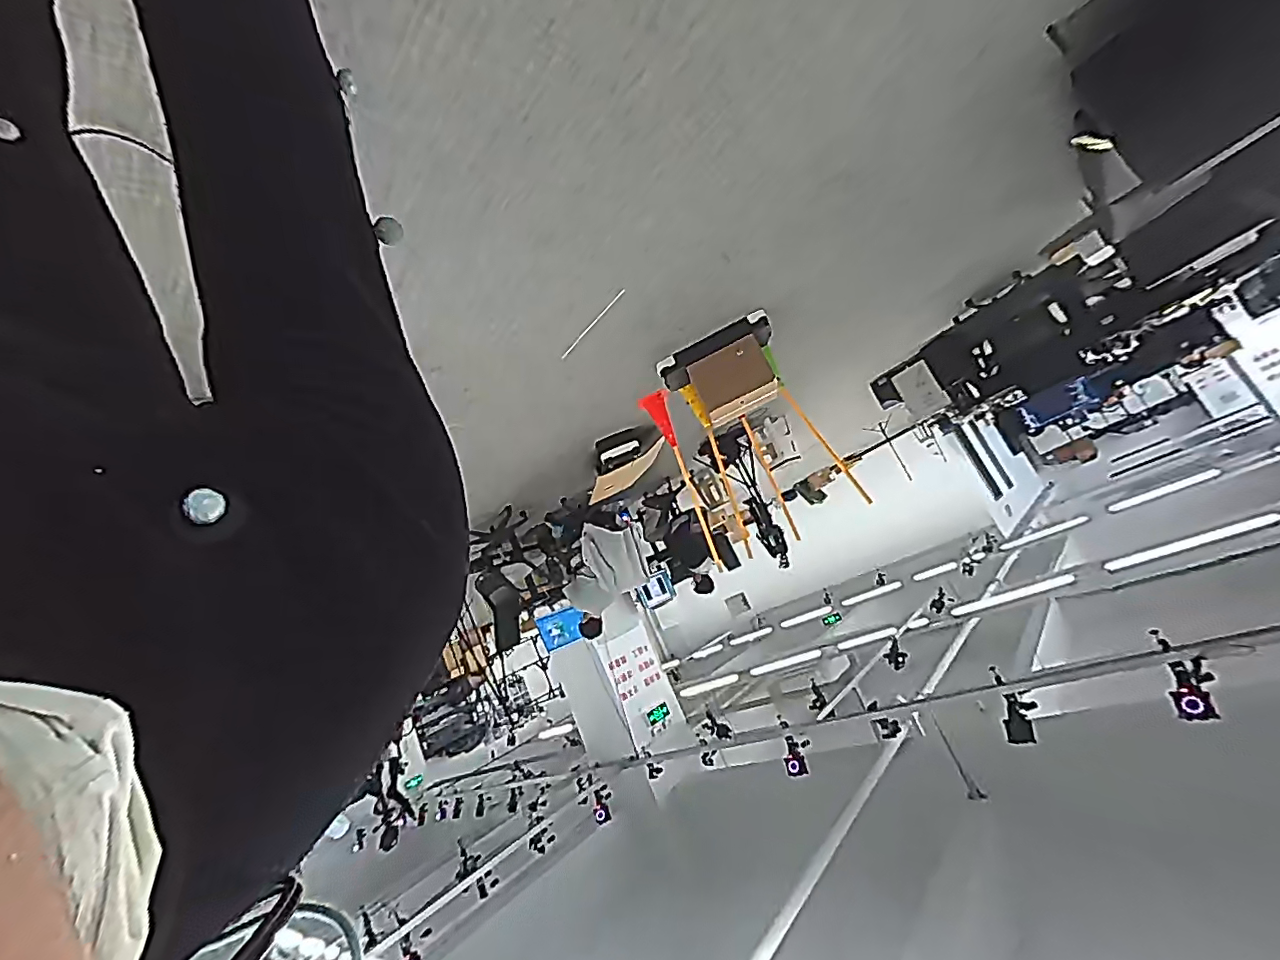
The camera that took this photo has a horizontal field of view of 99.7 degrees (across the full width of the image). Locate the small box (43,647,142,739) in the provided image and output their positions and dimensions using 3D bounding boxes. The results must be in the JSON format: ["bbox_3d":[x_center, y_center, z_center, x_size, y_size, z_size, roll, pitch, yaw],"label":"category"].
[{"bbox_3d":[-1.484,0.572,1.468,0.168,0.176,0.179,-11,162,-47],"label":"small box"}]
